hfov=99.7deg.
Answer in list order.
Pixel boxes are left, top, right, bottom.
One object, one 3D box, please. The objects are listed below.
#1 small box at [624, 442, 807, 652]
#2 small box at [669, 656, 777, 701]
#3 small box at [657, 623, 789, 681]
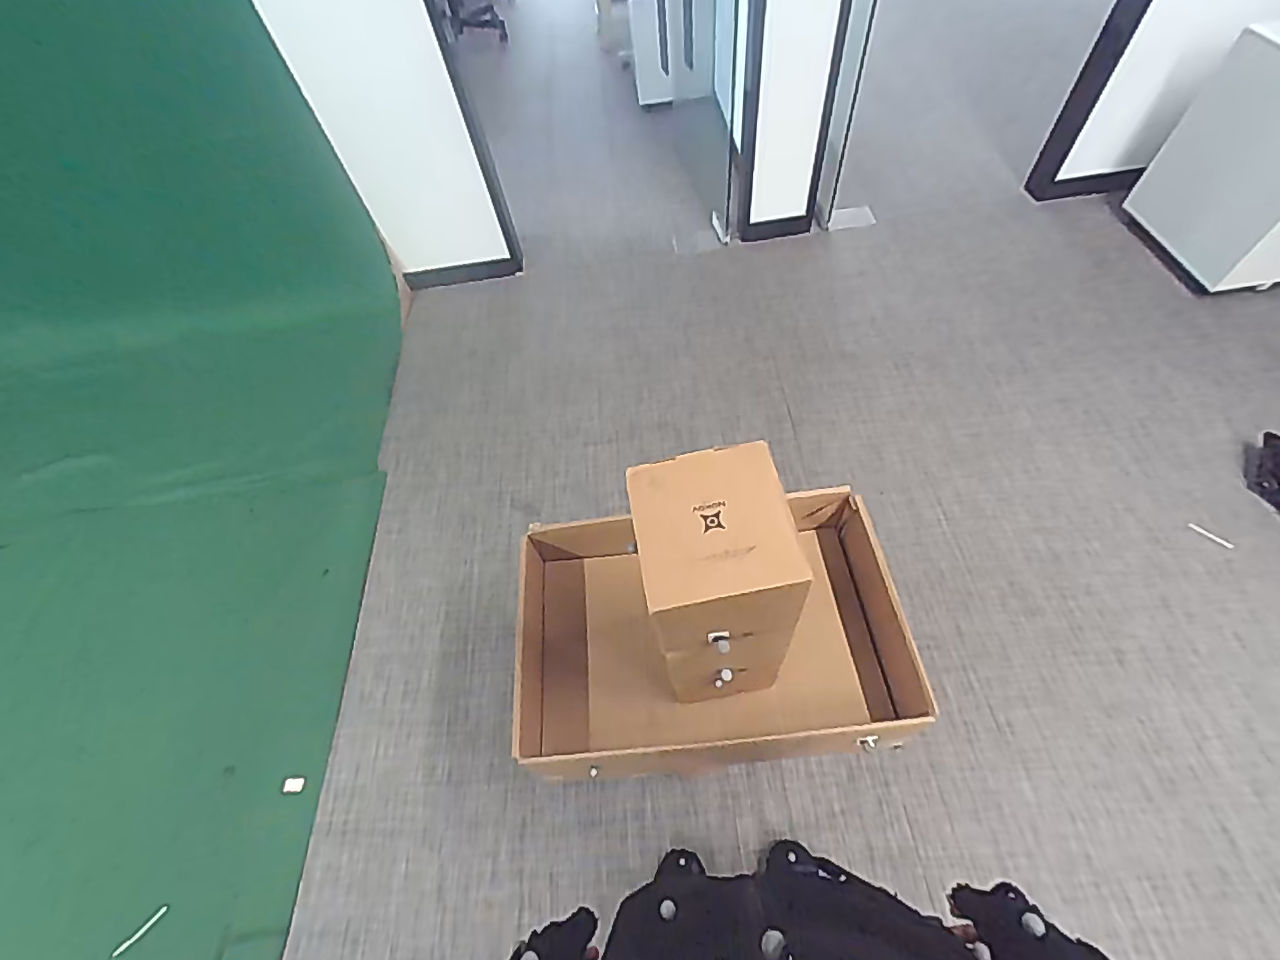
[{"bbox_3d":[0.082,0.084,0.642,0.168,0.176,0.179,-12,57,2],"label":"small box"},{"bbox_3d":[0.122,0.254,0.917,0.168,0.176,0.179,-12,56,2],"label":"small box"},{"bbox_3d":[0.101,0.170,0.778,0.168,0.176,0.179,-11,57,1],"label":"small box"}]
